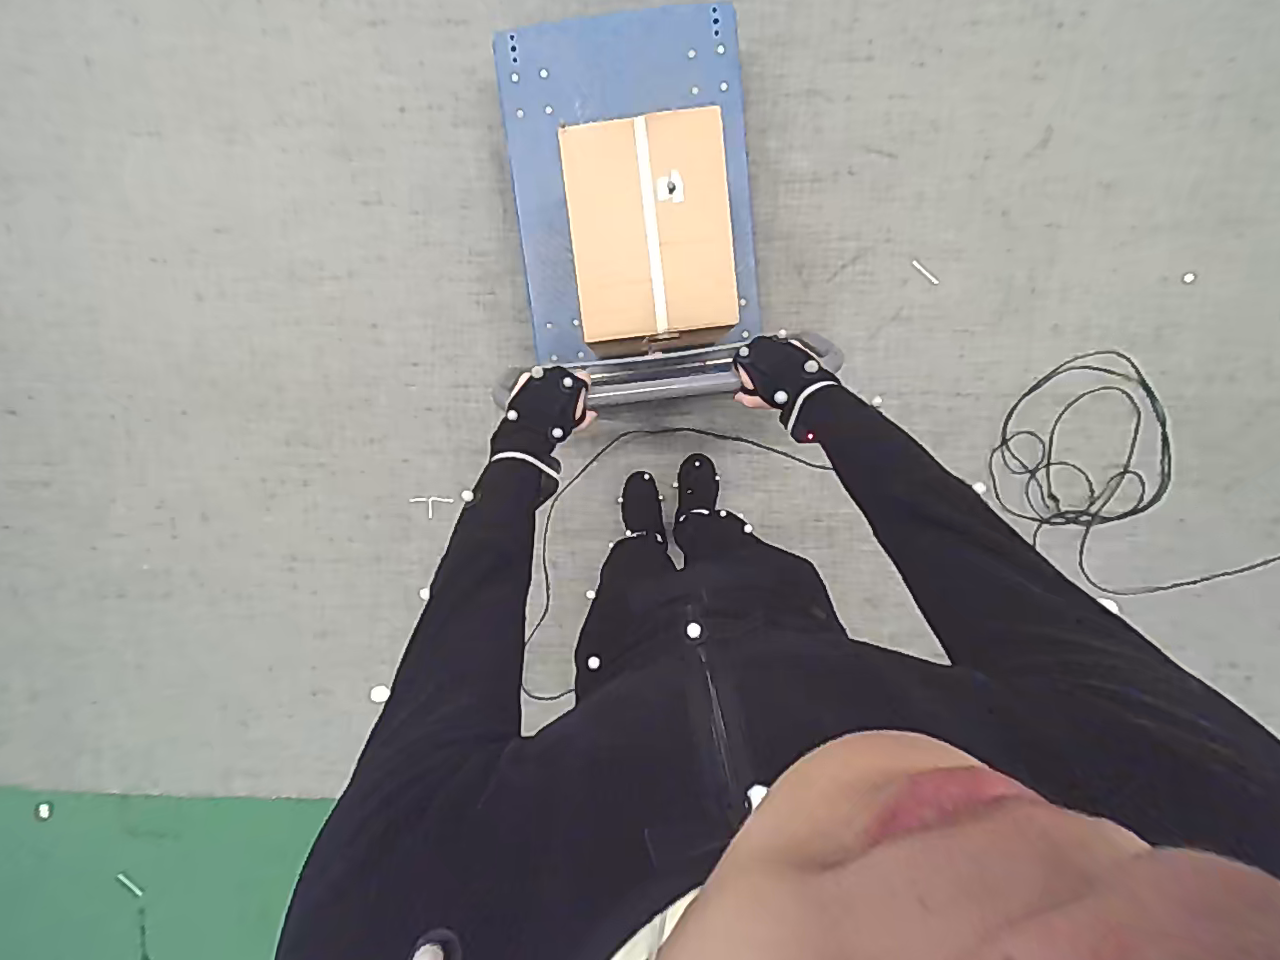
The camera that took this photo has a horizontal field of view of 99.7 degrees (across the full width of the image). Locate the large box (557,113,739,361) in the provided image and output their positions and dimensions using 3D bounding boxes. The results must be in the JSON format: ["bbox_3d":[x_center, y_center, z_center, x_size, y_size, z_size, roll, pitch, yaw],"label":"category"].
[{"bbox_3d":[0.021,-0.499,1.199,0.320,0.320,0.408,-7,97,1],"label":"large box"}]
